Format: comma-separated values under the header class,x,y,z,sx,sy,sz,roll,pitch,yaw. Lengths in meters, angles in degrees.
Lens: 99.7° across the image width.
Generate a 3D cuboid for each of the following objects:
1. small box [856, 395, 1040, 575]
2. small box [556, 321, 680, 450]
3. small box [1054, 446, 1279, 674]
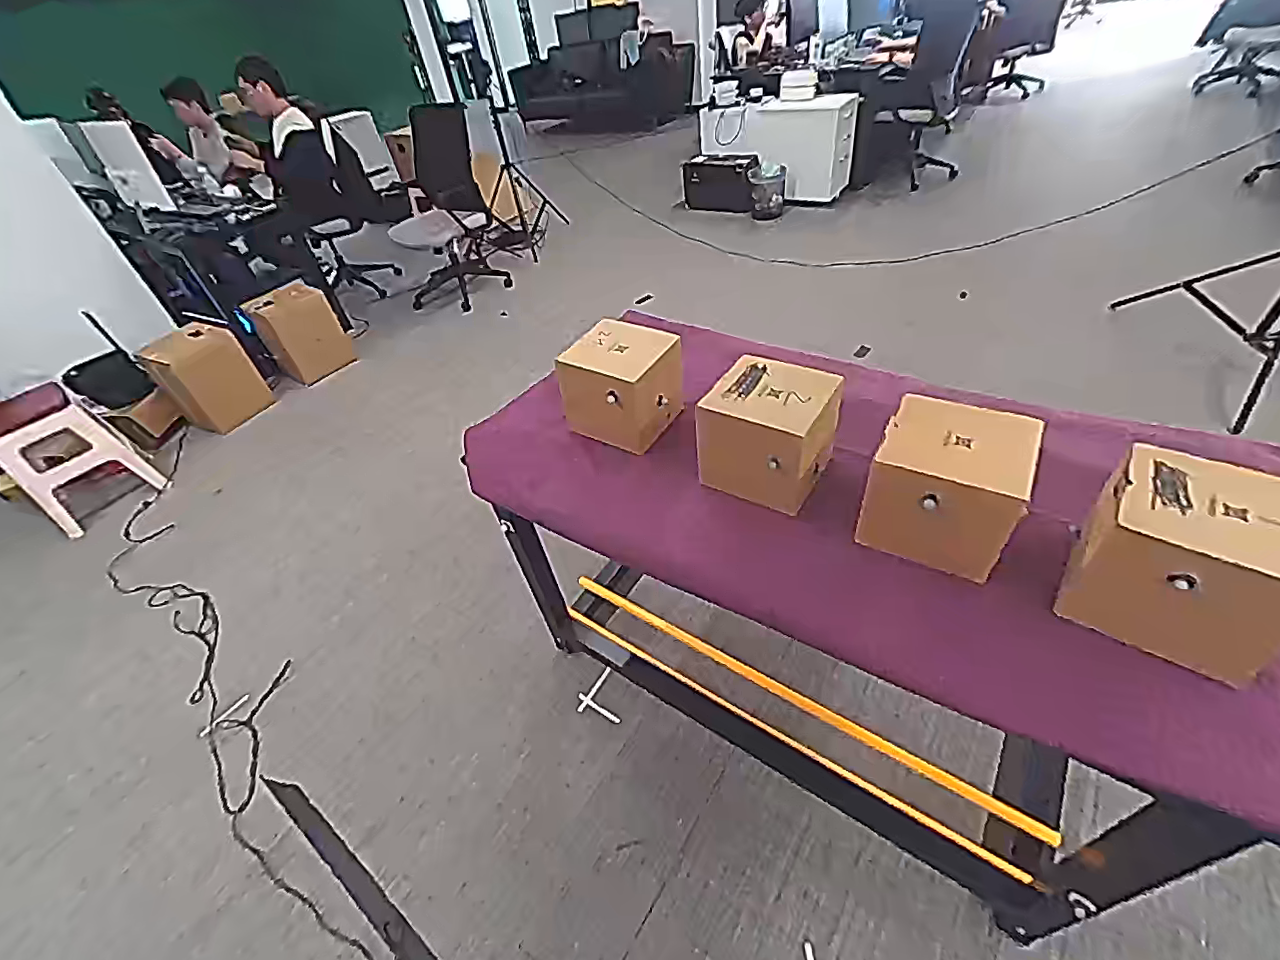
class,x,y,z,sx,sy,sz,roll,pitch,yaw
small box,0.427,0.009,0.767,0.179,0.176,0.168,19,50,28
small box,-0.032,-0.180,1.045,0.179,0.176,0.168,21,50,26
small box,0.628,0.092,0.633,0.179,0.176,0.168,24,52,31
